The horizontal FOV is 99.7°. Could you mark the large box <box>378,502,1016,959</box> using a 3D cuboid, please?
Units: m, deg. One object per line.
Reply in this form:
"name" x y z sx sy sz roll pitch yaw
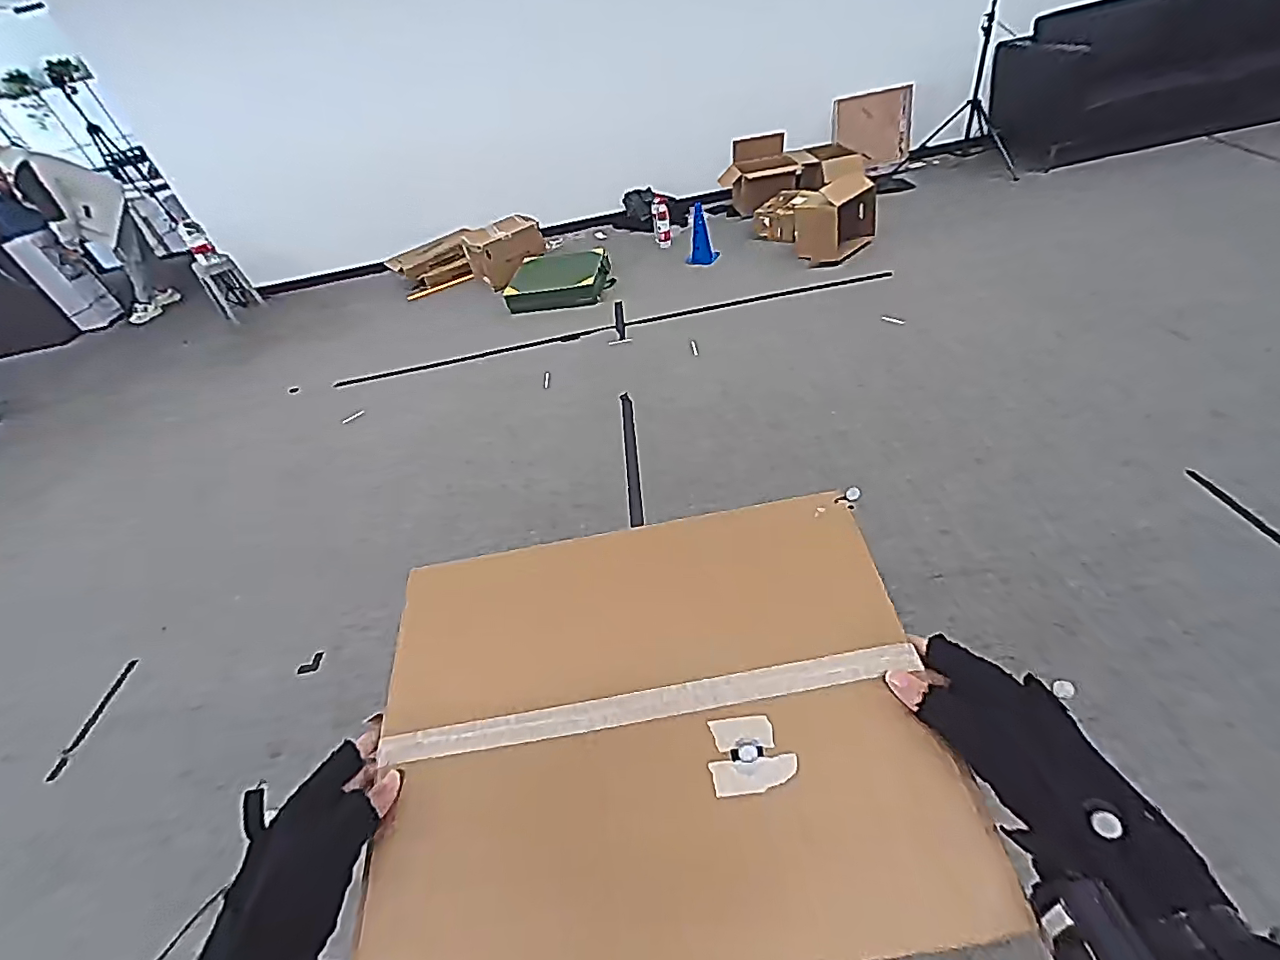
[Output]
"large box" 0.029 0.266 0.530 0.408 0.320 0.320 -11 52 1
